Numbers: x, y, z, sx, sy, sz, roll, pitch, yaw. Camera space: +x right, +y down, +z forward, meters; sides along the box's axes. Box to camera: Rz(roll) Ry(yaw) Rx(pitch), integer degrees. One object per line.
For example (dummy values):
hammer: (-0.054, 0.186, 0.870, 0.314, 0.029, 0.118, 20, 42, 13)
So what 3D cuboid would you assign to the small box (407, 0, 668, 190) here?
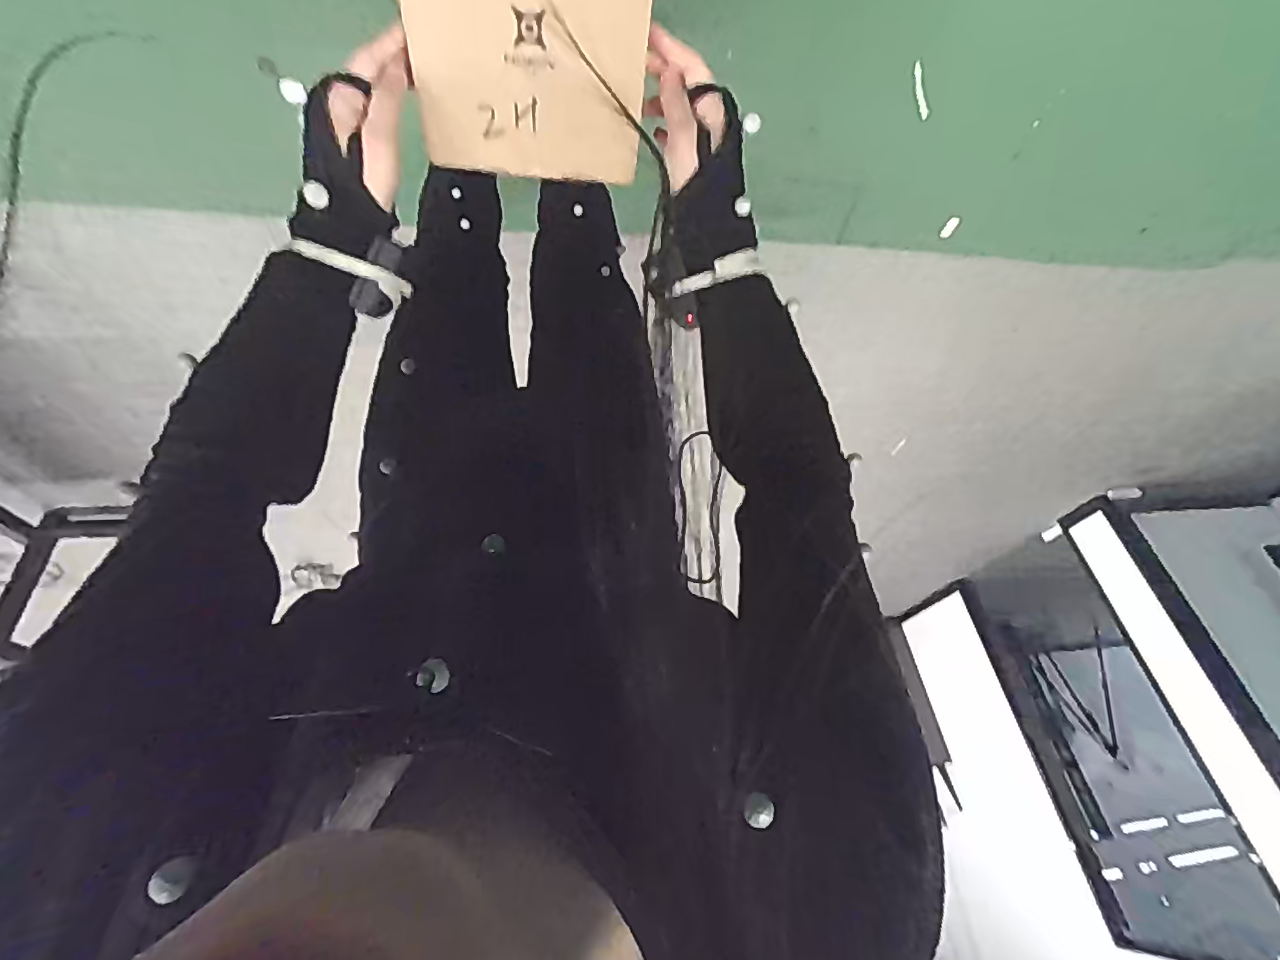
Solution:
small box: (-0.069, -0.352, 0.405, 0.168, 0.176, 0.179, 3, 142, -6)
